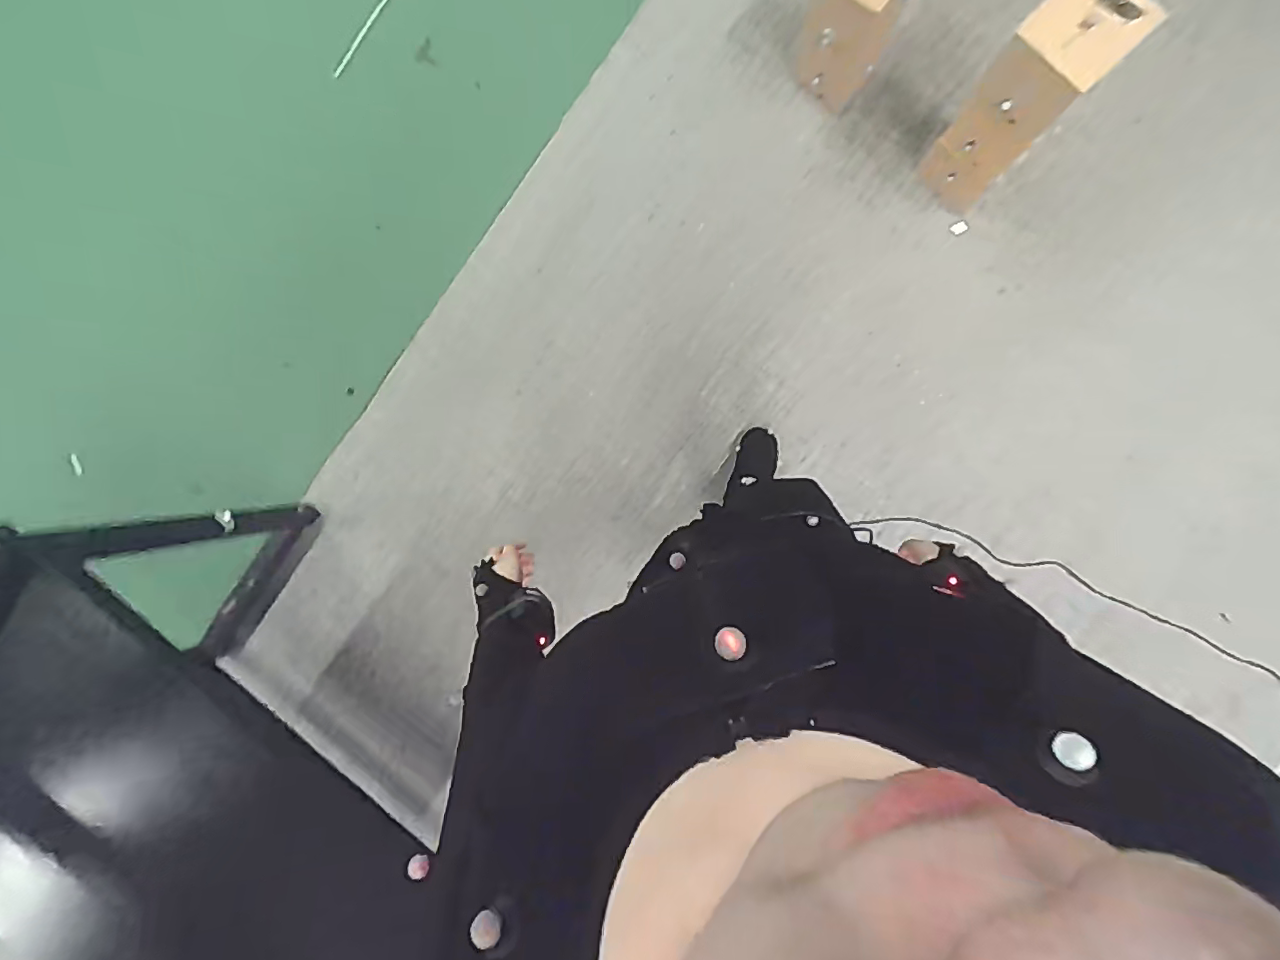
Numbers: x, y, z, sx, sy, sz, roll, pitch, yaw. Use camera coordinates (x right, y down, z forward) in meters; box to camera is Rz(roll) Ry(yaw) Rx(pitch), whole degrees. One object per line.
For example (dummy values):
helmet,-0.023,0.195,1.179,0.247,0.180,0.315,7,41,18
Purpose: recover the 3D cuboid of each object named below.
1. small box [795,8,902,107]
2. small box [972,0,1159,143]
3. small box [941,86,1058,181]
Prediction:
small box,0.507,-1.092,1.351,0.168,0.176,0.179,42,97,3
small box,0.771,-0.785,1.003,0.179,0.176,0.168,-43,87,8
small box,0.797,-0.798,1.165,0.179,0.176,0.168,-45,87,7
